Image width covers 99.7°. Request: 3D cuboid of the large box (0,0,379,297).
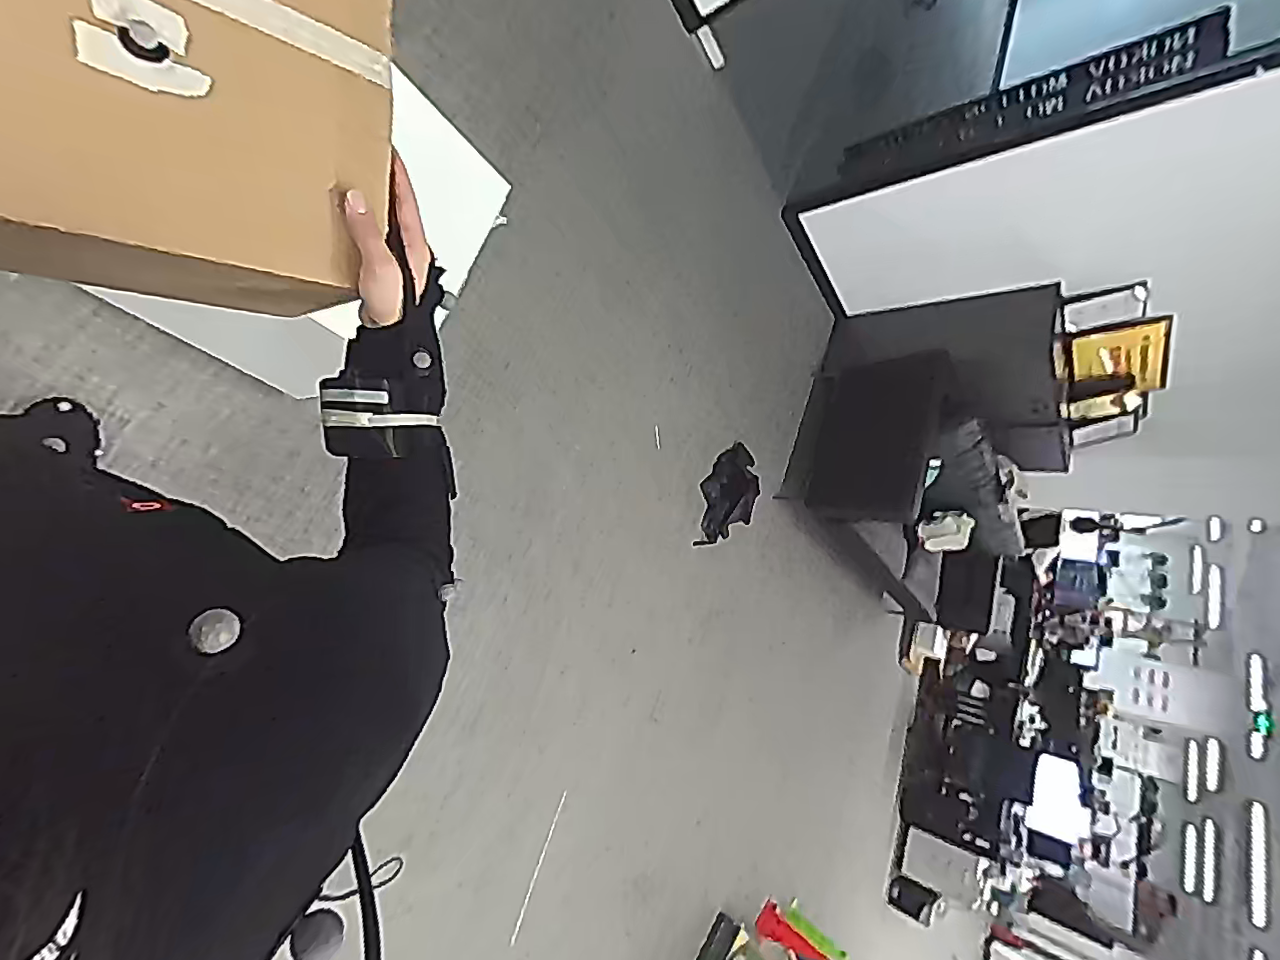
[{"bbox_3d":[-0.441,-0.327,0.367,0.408,0.320,0.320,-3,103,-44],"label":"large box"}]
